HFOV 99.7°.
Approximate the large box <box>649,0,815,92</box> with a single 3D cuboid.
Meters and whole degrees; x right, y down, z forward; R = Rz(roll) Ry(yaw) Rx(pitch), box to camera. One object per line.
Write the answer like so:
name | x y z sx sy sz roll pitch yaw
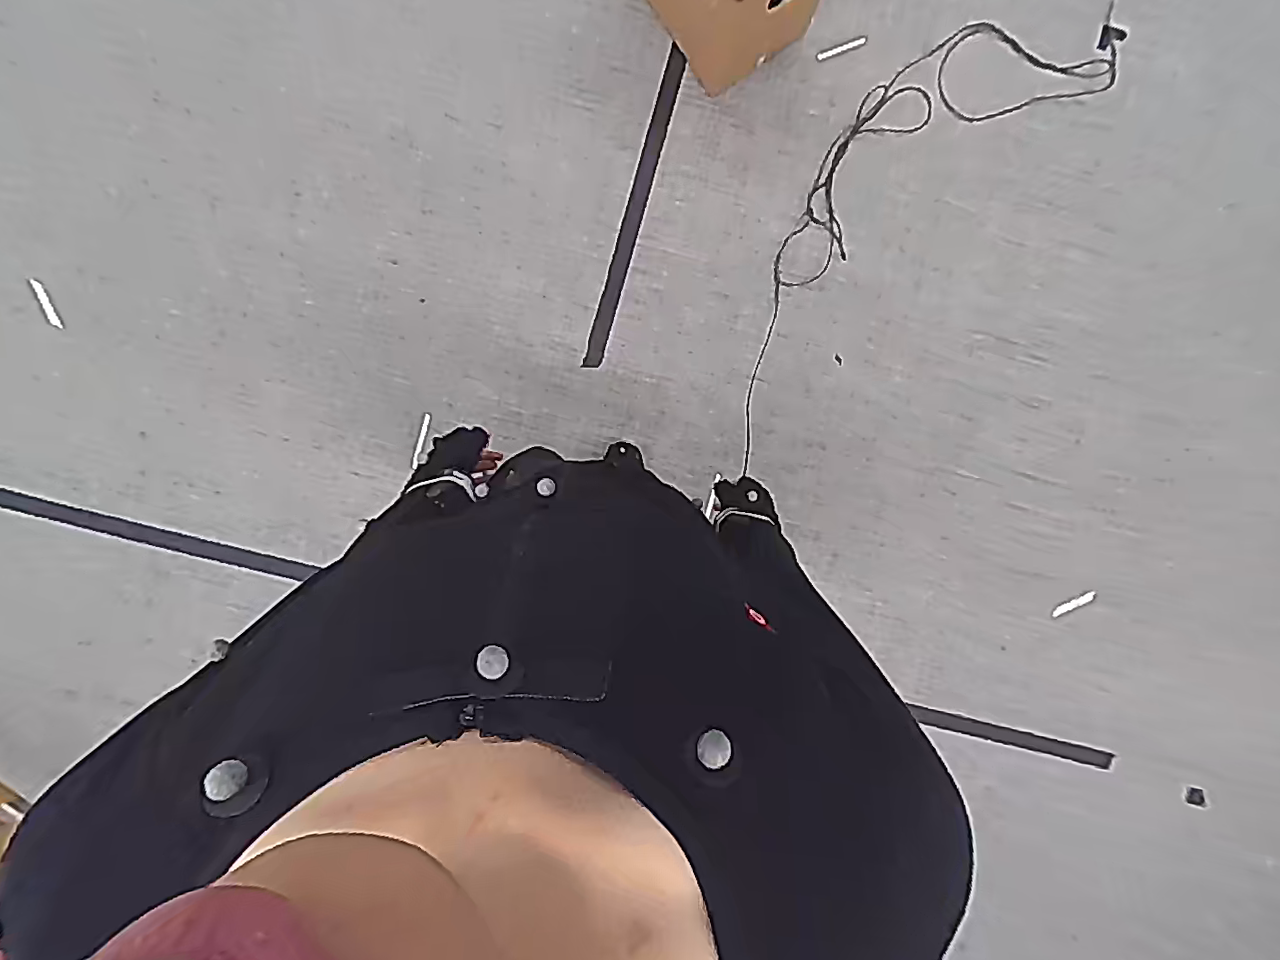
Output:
large box | 0.210 -1.279 1.298 0.320 0.320 0.408 -35 94 0
